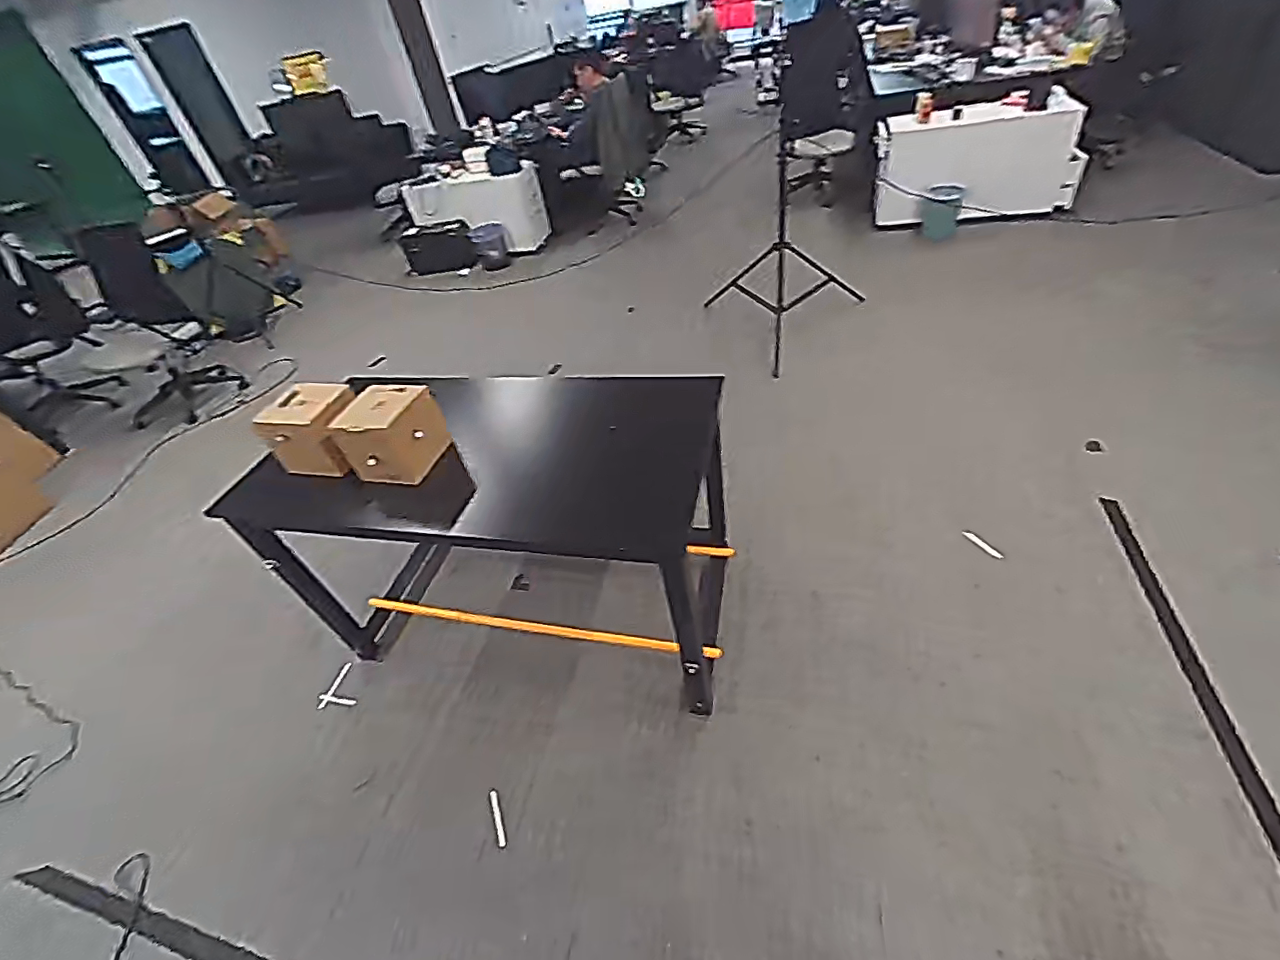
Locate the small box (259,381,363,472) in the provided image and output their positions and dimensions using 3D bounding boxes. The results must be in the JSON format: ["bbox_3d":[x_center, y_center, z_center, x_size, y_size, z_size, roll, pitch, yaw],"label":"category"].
[{"bbox_3d":[-0.806,-0.136,1.383,0.179,0.176,0.168,4,45,16],"label":"small box"}]

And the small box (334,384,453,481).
[{"bbox_3d":[-0.585,-0.115,1.313,0.168,0.176,0.179,4,45,15],"label":"small box"}]
